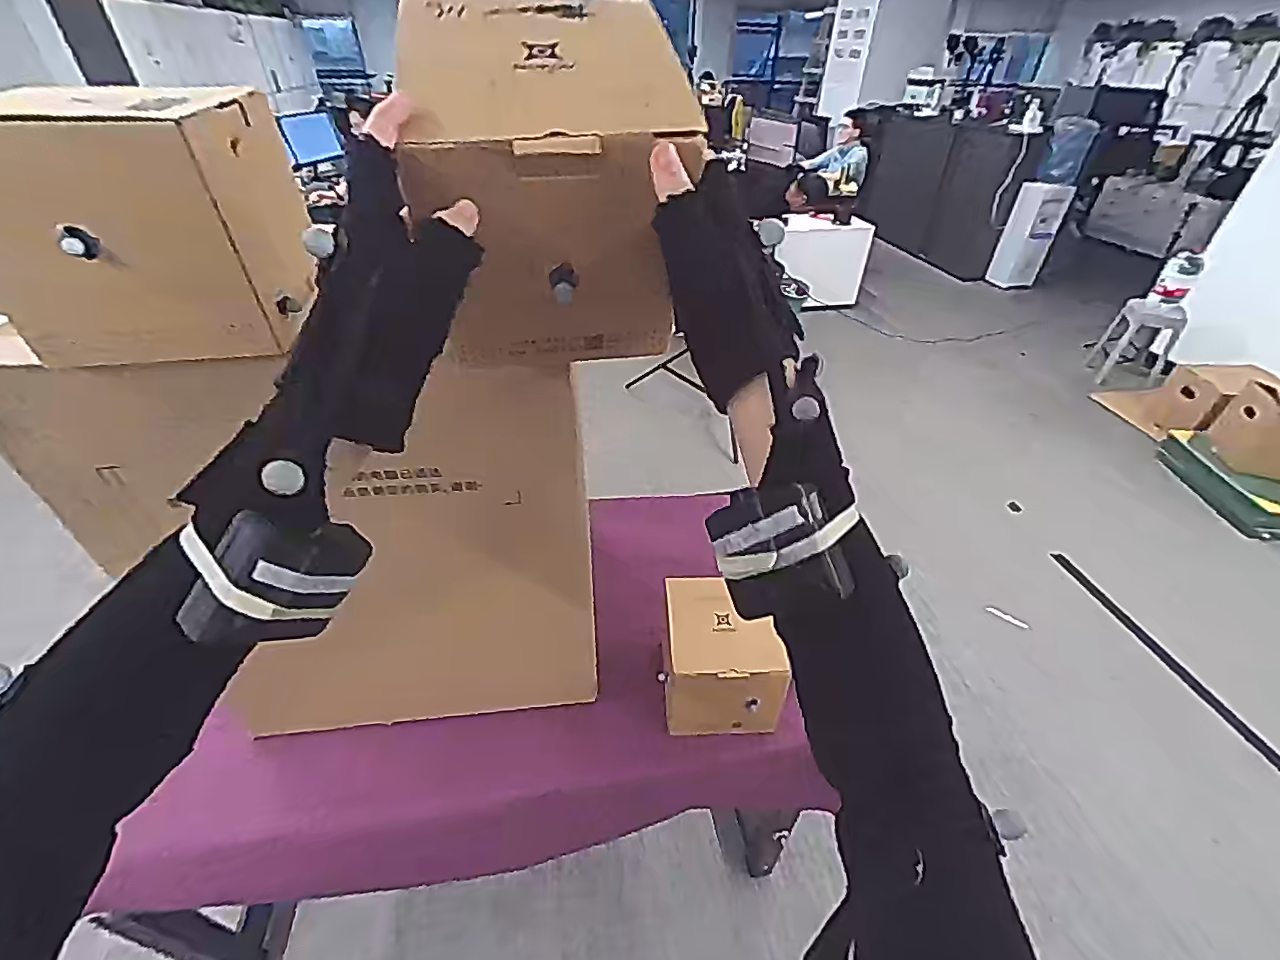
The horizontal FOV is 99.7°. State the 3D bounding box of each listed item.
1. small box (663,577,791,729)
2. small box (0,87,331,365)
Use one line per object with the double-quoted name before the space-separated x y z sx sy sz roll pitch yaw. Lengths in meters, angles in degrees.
"small box" 0.125 0.275 0.853 0.168 0.176 0.179 0 37 -3
"small box" -0.387 -0.209 0.445 0.179 0.176 0.168 -7 41 -8
